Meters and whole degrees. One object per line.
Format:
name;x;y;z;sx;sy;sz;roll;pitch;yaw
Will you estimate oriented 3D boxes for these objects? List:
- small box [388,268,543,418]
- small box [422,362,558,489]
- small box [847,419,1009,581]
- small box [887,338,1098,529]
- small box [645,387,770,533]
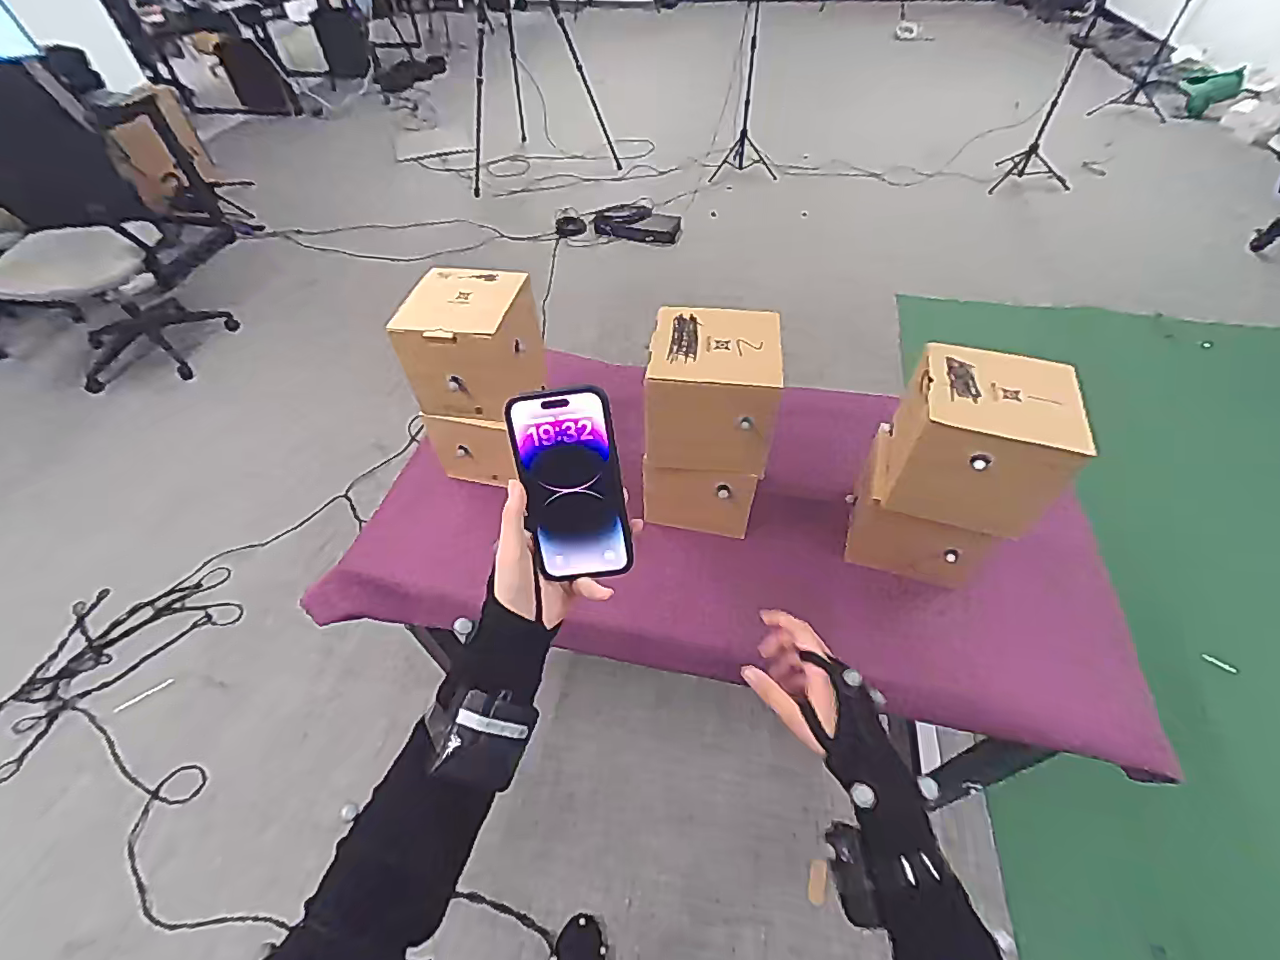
small box;-0.265;-0.219;0.875;0.168;0.176;0.179;6;51;7
small box;-0.261;-0.106;0.995;0.168;0.176;0.179;10;50;11
small box;0.440;0.035;0.842;0.179;0.176;0.168;14;51;15
small box;0.439;-0.059;0.707;0.179;0.176;0.168;14;51;14
small box;0.113;-0.030;0.911;0.179;0.176;0.168;9;50;10
